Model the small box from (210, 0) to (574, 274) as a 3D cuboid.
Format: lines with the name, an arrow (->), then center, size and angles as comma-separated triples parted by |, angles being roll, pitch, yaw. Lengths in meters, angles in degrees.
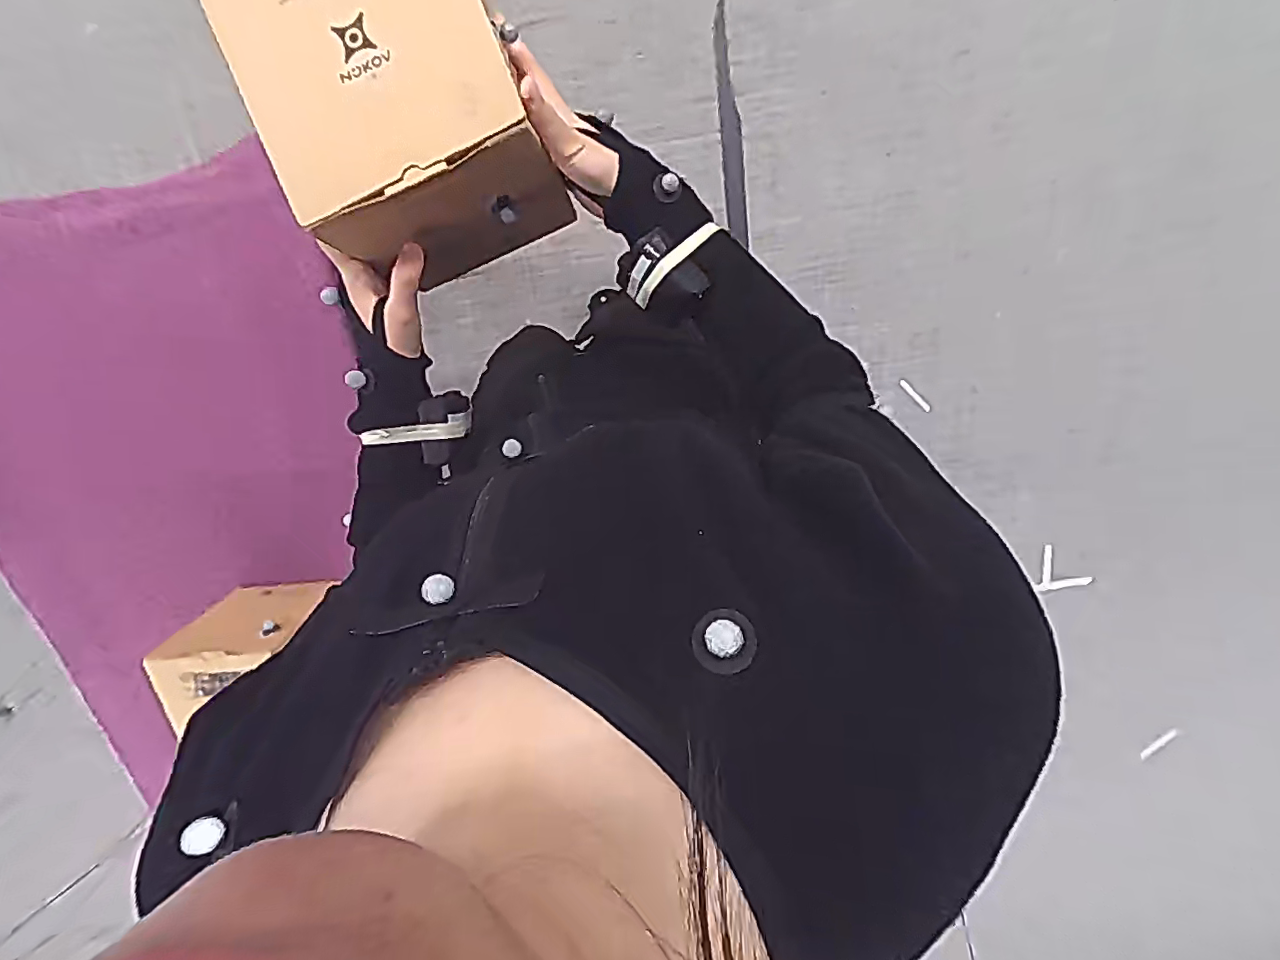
small box -> -0.164, -0.278, 0.413 | 0.168, 0.176, 0.179 | -22, 93, 5
